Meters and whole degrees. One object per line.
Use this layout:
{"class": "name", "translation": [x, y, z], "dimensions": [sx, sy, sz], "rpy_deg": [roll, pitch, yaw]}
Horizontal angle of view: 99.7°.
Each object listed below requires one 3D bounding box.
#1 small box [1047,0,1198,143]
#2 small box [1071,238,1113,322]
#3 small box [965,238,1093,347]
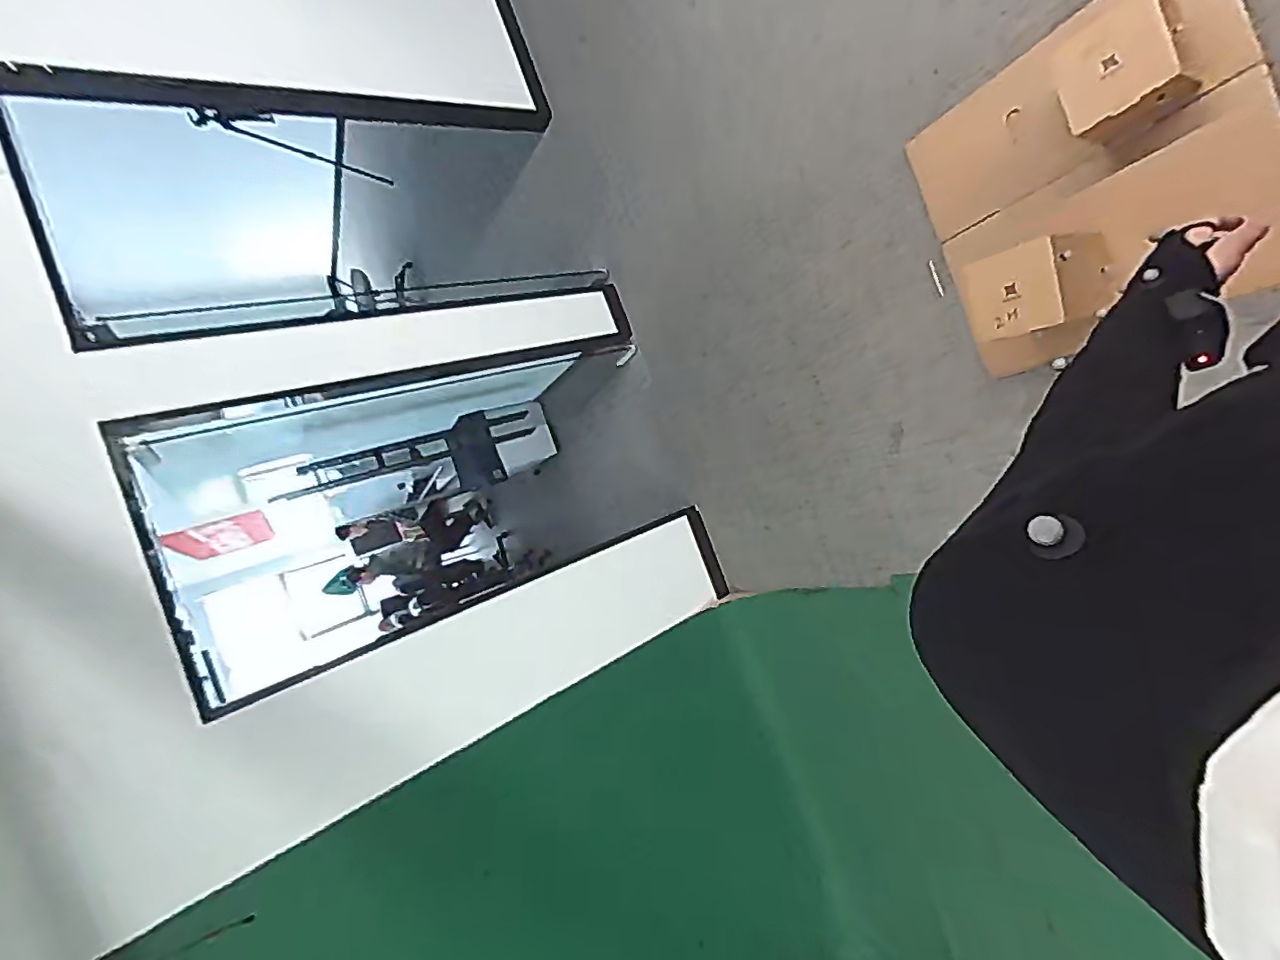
{"class": "small box", "translation": [0.962, -0.806, 1.076], "dimensions": [0.168, 0.176, 0.179], "rpy_deg": [-19, 91, 57]}
{"class": "small box", "translation": [0.964, -0.444, 1.257], "dimensions": [0.168, 0.176, 0.179], "rpy_deg": [-5, 102, 57]}
{"class": "small box", "translation": [0.835, -0.401, 1.161], "dimensions": [0.168, 0.176, 0.179], "rpy_deg": [-6, 101, 57]}
